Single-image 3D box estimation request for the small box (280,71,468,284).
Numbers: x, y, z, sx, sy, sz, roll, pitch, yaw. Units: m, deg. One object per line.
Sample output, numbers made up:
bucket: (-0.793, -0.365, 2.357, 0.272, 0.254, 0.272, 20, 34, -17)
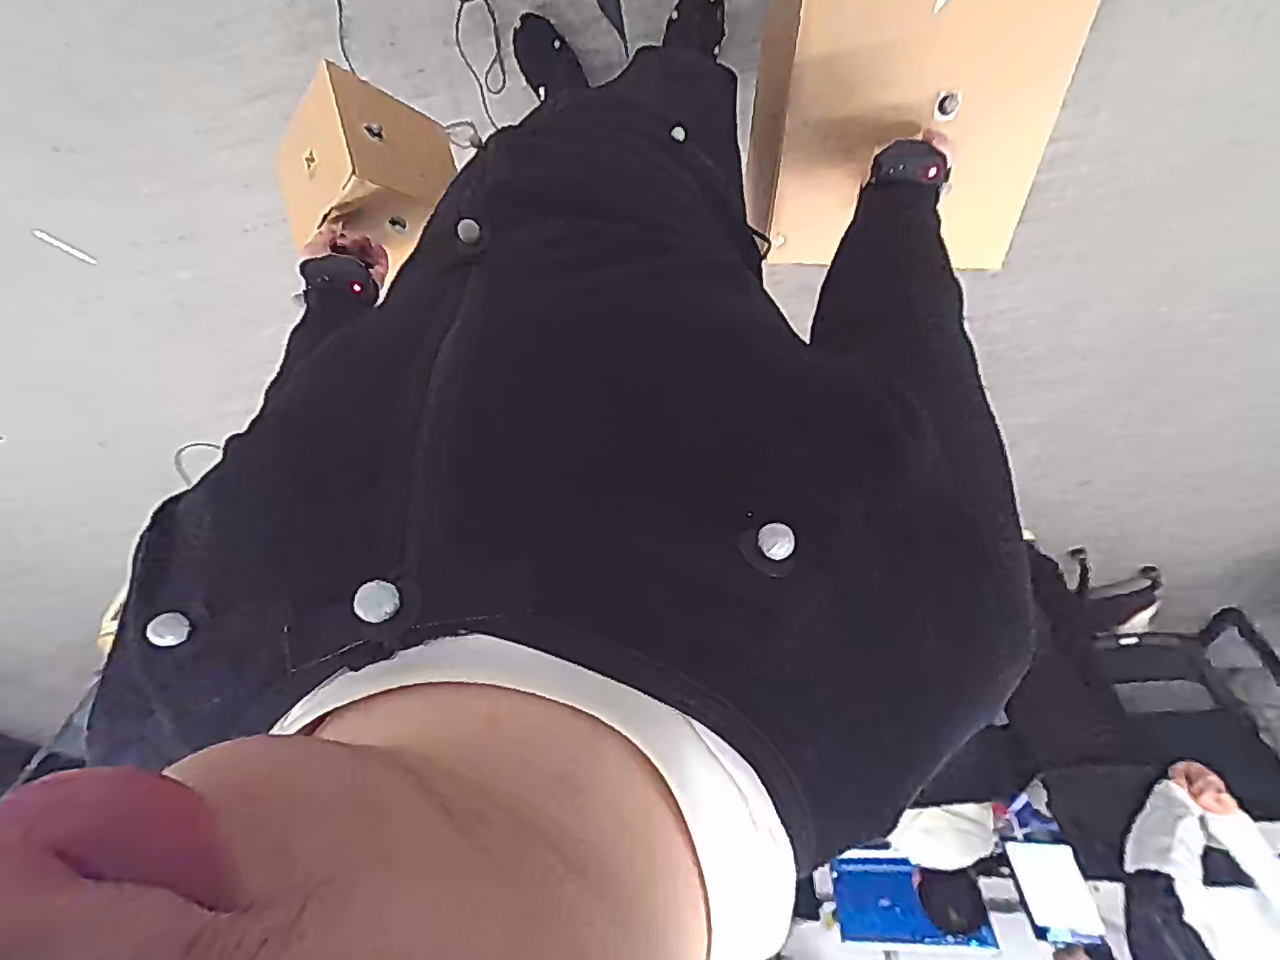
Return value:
small box: (-0.365, -0.396, 0.752, 0.168, 0.179, 0.176, -27, 165, 34)
